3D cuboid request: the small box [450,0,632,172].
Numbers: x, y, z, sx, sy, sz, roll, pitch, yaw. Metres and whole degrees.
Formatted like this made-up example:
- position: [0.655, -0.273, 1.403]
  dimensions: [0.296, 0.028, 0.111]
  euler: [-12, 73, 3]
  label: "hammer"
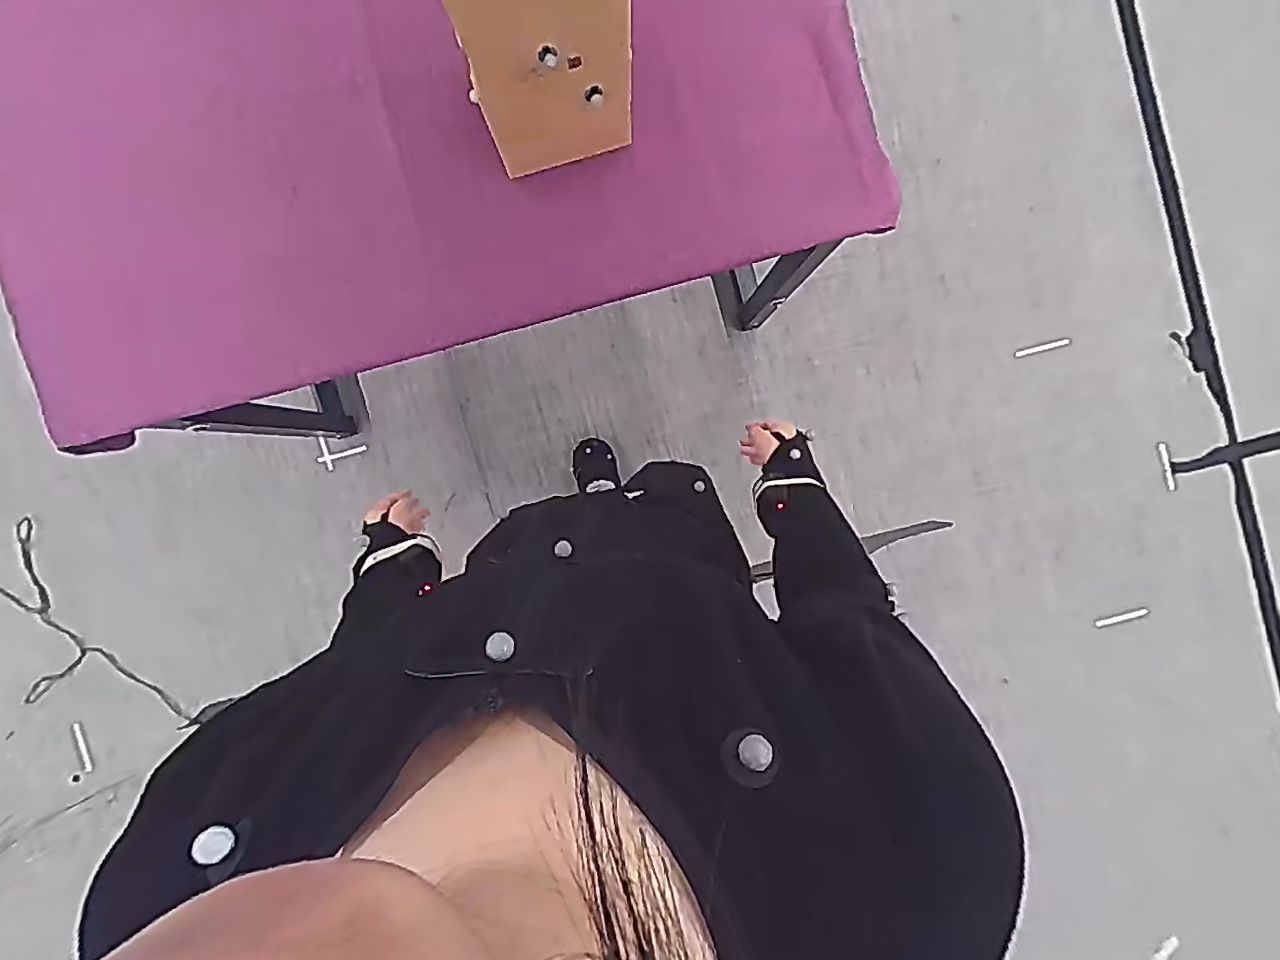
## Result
- position: [-0.115, -0.514, 0.657]
  dimensions: [0.179, 0.176, 0.168]
  euler: [-16, 92, 0]
  label: "small box"
